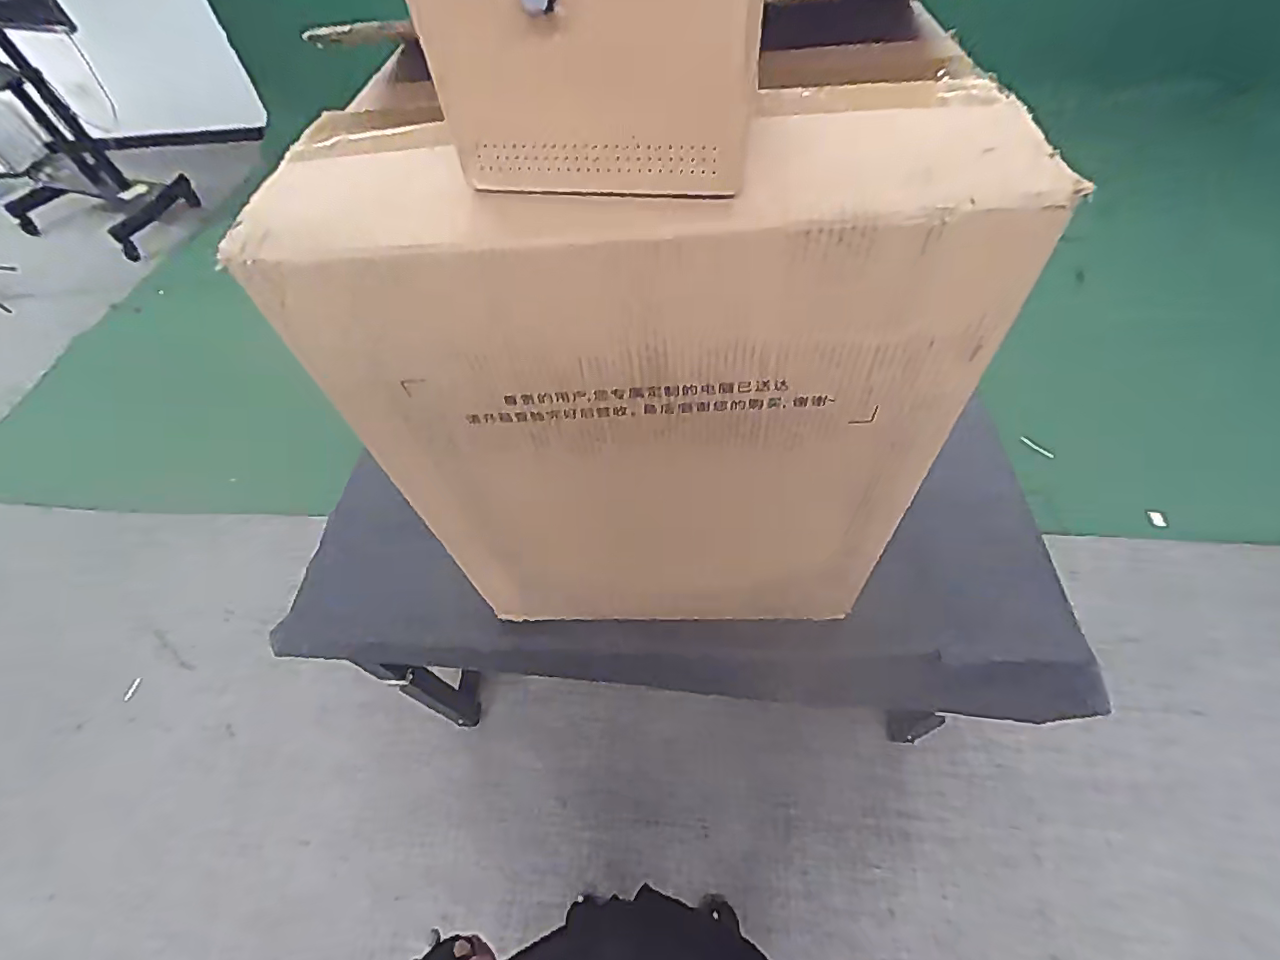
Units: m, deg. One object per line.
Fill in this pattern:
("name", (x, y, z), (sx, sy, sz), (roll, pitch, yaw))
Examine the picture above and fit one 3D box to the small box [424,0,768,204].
("small box", (-0.017, -0.284, 0.318), (0.179, 0.176, 0.168), (6, 56, 10))
